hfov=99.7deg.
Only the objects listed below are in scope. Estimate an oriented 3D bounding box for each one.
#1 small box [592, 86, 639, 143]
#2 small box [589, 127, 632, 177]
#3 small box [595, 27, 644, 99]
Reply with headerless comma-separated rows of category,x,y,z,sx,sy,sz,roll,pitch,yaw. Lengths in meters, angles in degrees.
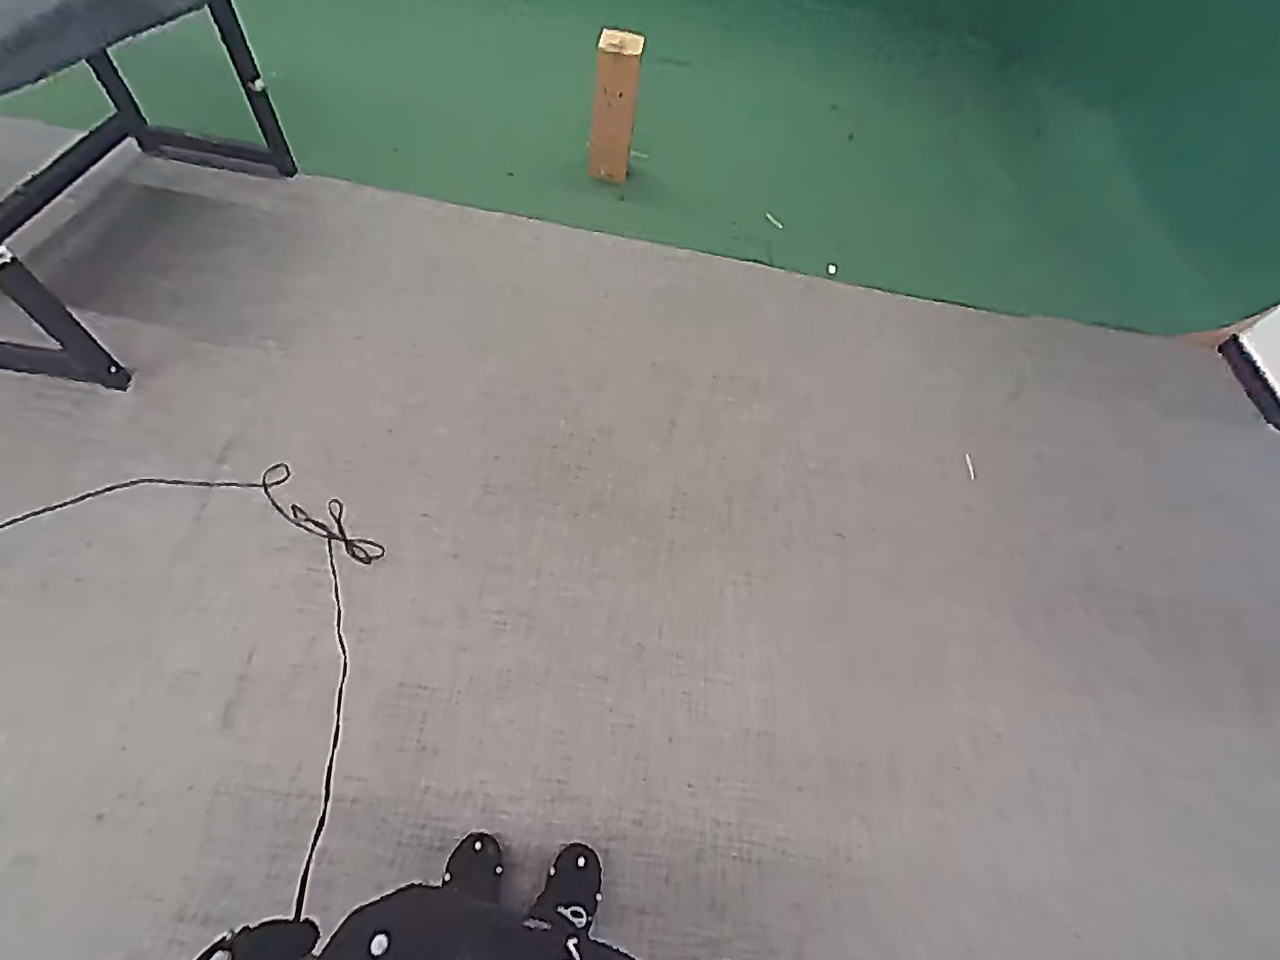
small box,-0.107,-1.563,2.283,0.168,0.176,0.179,10,57,-3
small box,-0.132,-1.488,2.405,0.168,0.176,0.179,10,58,-1
small box,-0.083,-1.649,2.144,0.168,0.176,0.179,9,57,-4
